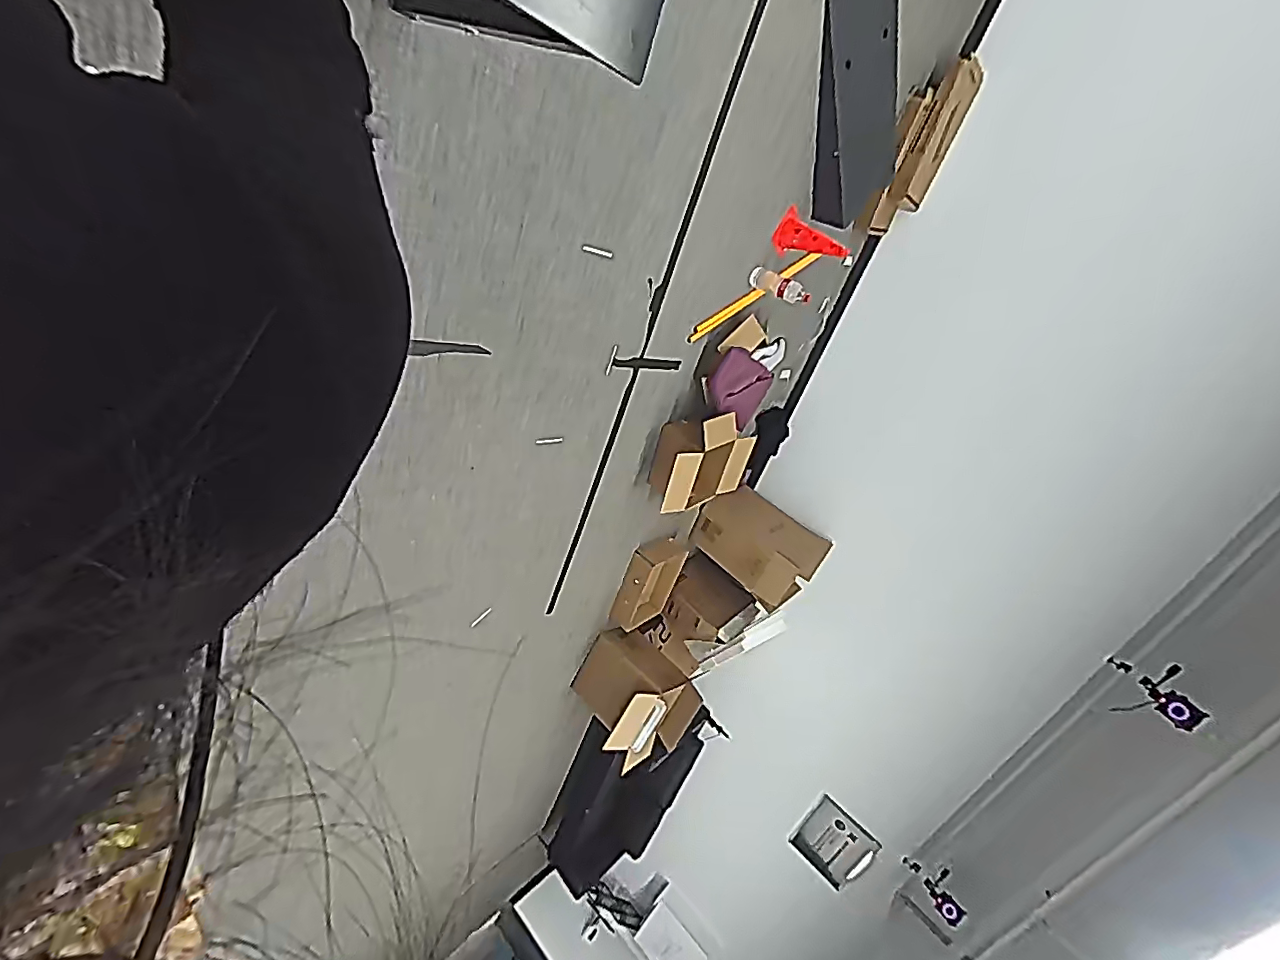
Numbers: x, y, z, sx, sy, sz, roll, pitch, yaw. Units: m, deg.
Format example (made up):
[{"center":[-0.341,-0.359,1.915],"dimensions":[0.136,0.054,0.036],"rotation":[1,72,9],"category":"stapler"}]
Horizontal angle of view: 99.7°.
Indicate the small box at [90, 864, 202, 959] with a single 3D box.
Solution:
[{"center":[-1.227,1.118,1.348],"dimensions":[0.168,0.176,0.179],"rotation":[-19,132,-48],"category":"small box"}]
